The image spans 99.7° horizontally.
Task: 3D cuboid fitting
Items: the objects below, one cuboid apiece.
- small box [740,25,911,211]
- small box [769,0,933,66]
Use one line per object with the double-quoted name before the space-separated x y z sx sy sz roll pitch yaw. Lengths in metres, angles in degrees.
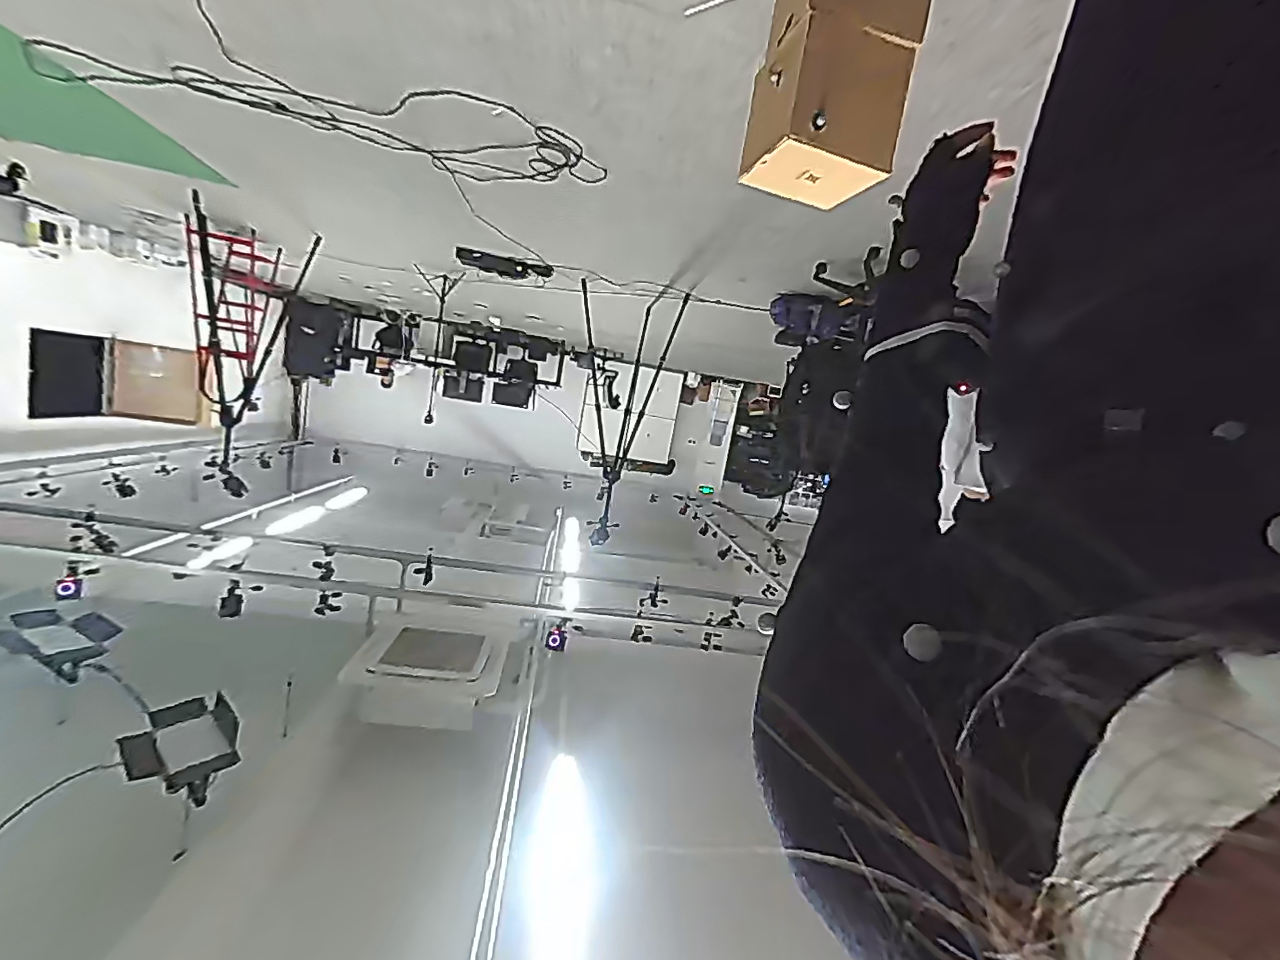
"small box" 0.282 -0.547 0.836 0.179 0.176 0.168 9 -173 -16
"small box" 0.313 -0.704 0.808 0.179 0.176 0.168 8 -173 -11
